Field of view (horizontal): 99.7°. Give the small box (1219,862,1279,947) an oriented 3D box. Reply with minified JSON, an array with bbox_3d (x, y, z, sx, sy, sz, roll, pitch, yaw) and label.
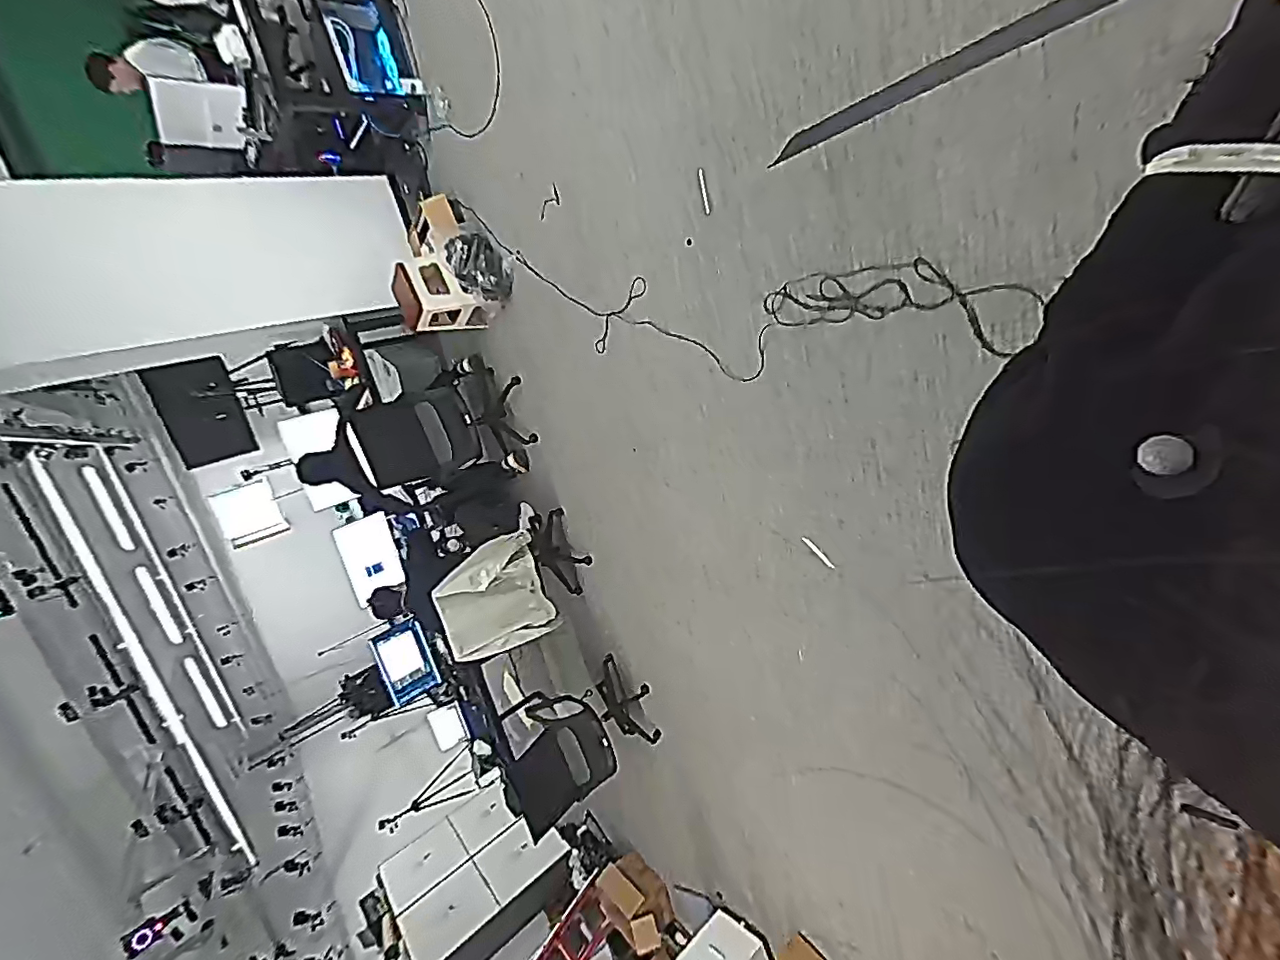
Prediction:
[{"bbox_3d":[1.156,0.831,0.945,0.179,0.176,0.168,15,120,48],"label":"small box"}]

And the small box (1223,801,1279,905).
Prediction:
[{"bbox_3d":[1.274,0.768,1.036,0.179,0.176,0.168,18,123,46],"label":"small box"}]

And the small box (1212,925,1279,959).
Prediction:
[{"bbox_3d":[1.025,0.883,0.859,0.168,0.176,0.179,14,119,47],"label":"small box"}]

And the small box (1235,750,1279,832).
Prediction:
[{"bbox_3d":[1.394,0.704,1.128,0.179,0.176,0.168,14,121,48],"label":"small box"}]
